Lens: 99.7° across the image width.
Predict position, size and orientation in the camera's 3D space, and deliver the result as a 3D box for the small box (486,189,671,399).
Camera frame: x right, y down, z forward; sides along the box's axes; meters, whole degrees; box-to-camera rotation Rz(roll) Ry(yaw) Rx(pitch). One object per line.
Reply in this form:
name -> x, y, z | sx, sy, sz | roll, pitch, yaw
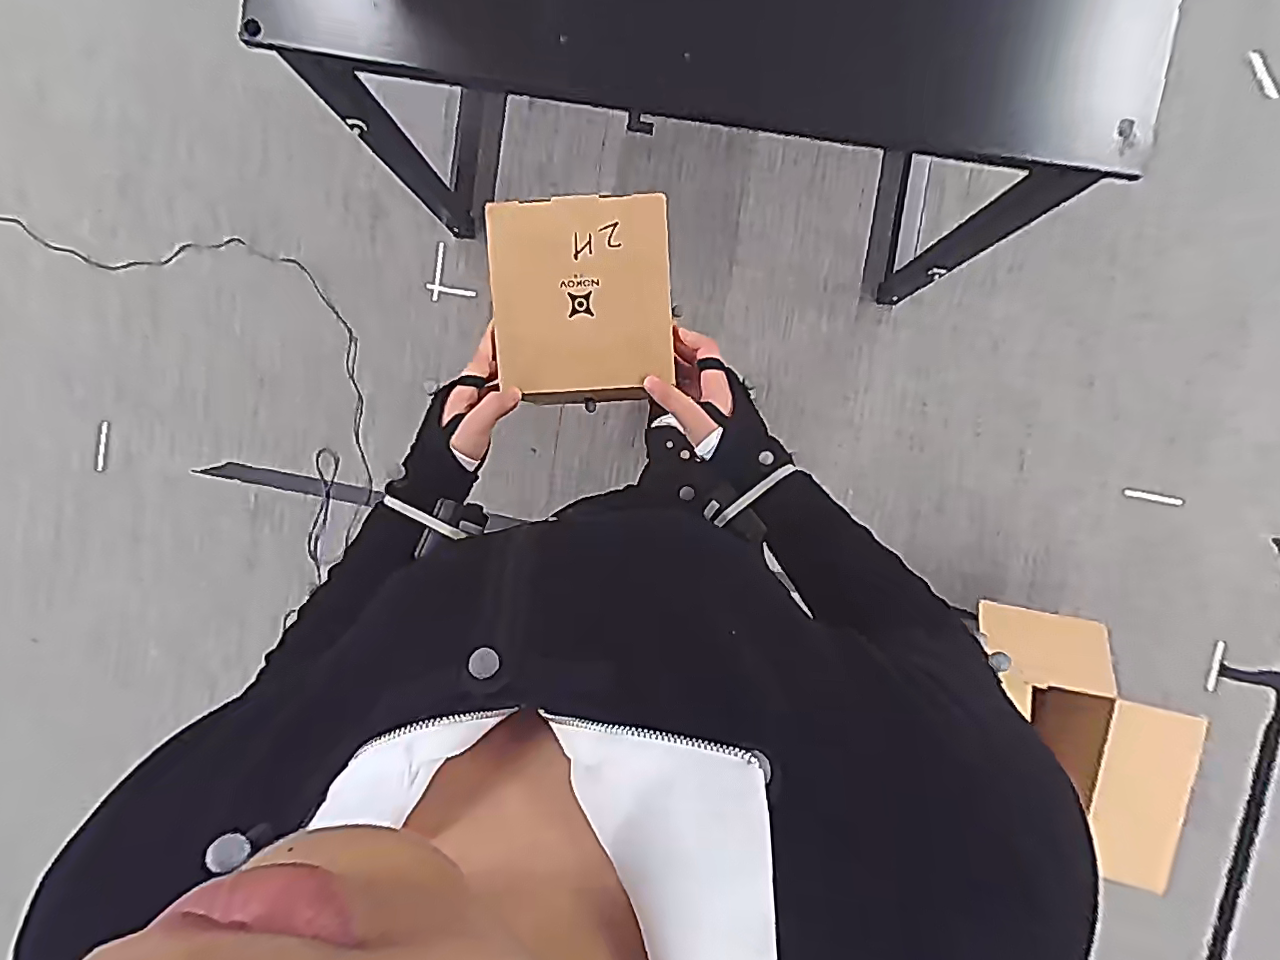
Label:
small box -> -0.054, -0.179, 0.575 | 0.168, 0.176, 0.179 | -3, 94, 0
